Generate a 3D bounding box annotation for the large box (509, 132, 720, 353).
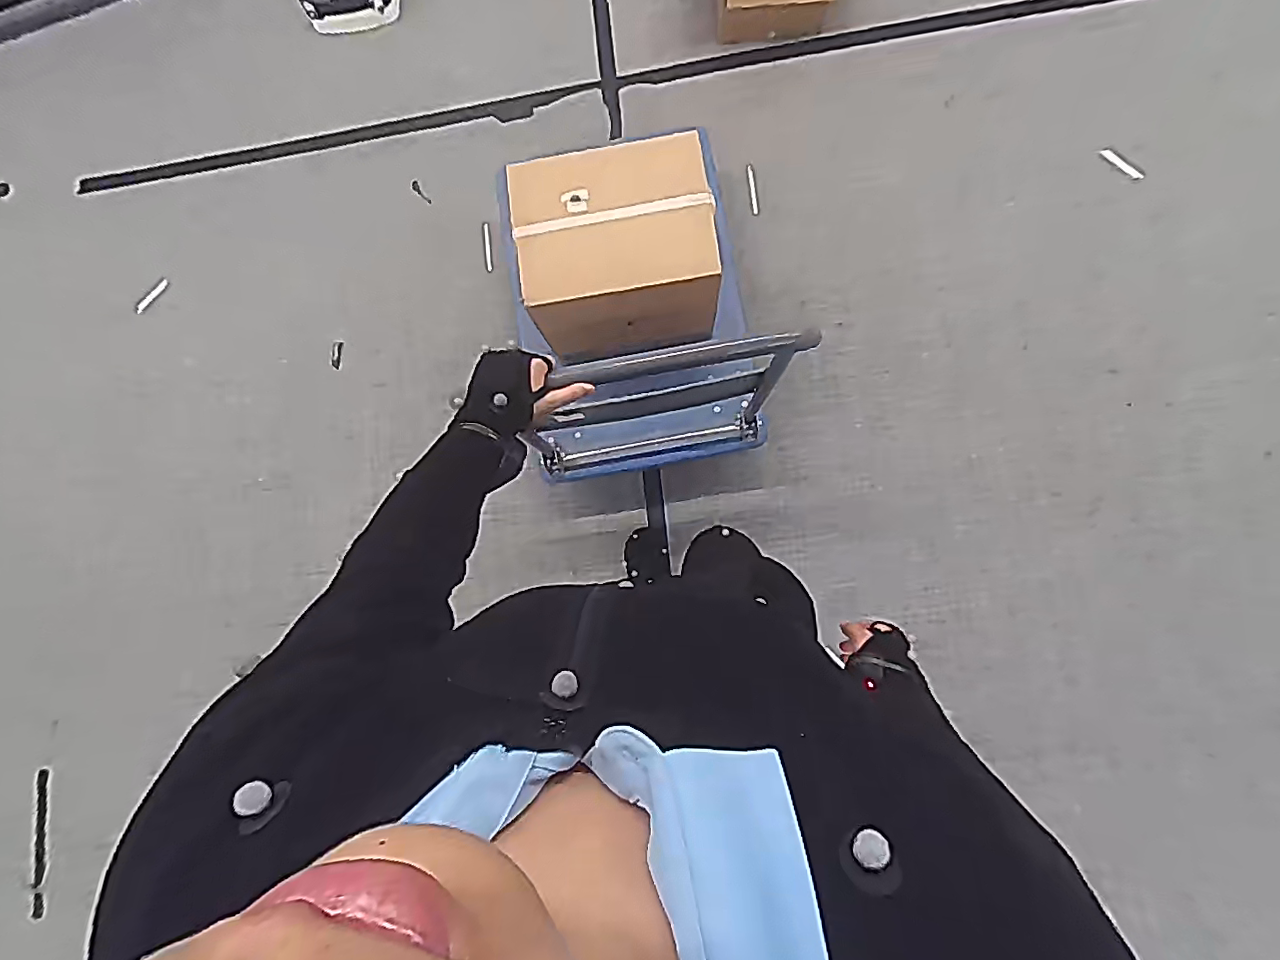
[{"bbox_3d":[-0.044,-0.518,1.252,0.408,0.320,0.320,-9,82,4],"label":"large box"}]
